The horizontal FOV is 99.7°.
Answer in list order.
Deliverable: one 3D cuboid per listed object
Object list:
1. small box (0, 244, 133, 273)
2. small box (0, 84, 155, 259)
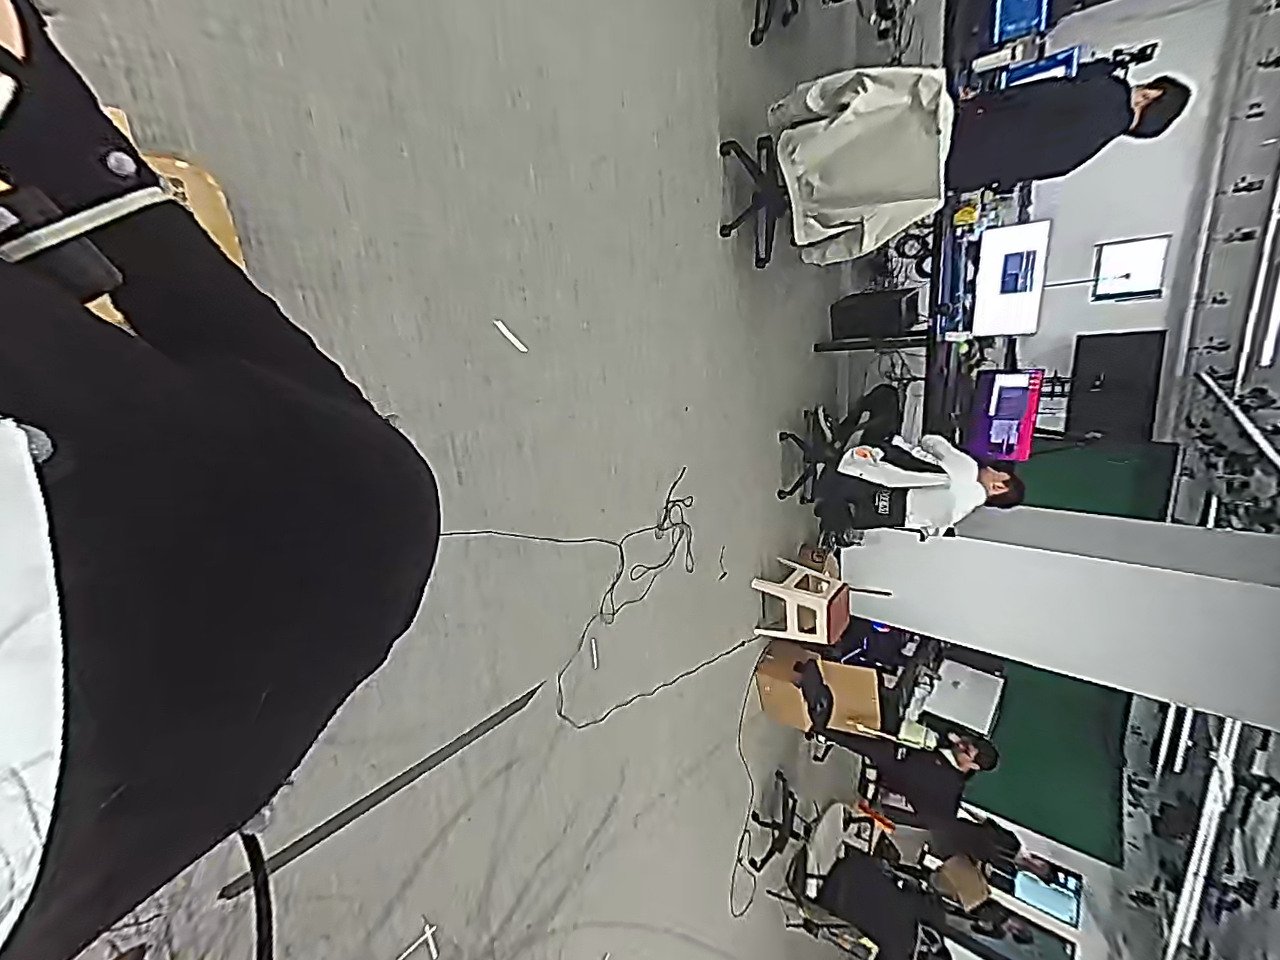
[{"bbox_3d":[-0.971,-0.444,0.879,0.168,0.176,0.179,-22,112,-46],"label":"small box"},{"bbox_3d":[-0.841,-0.432,0.779,0.168,0.176,0.179,-17,109,-47],"label":"small box"}]
